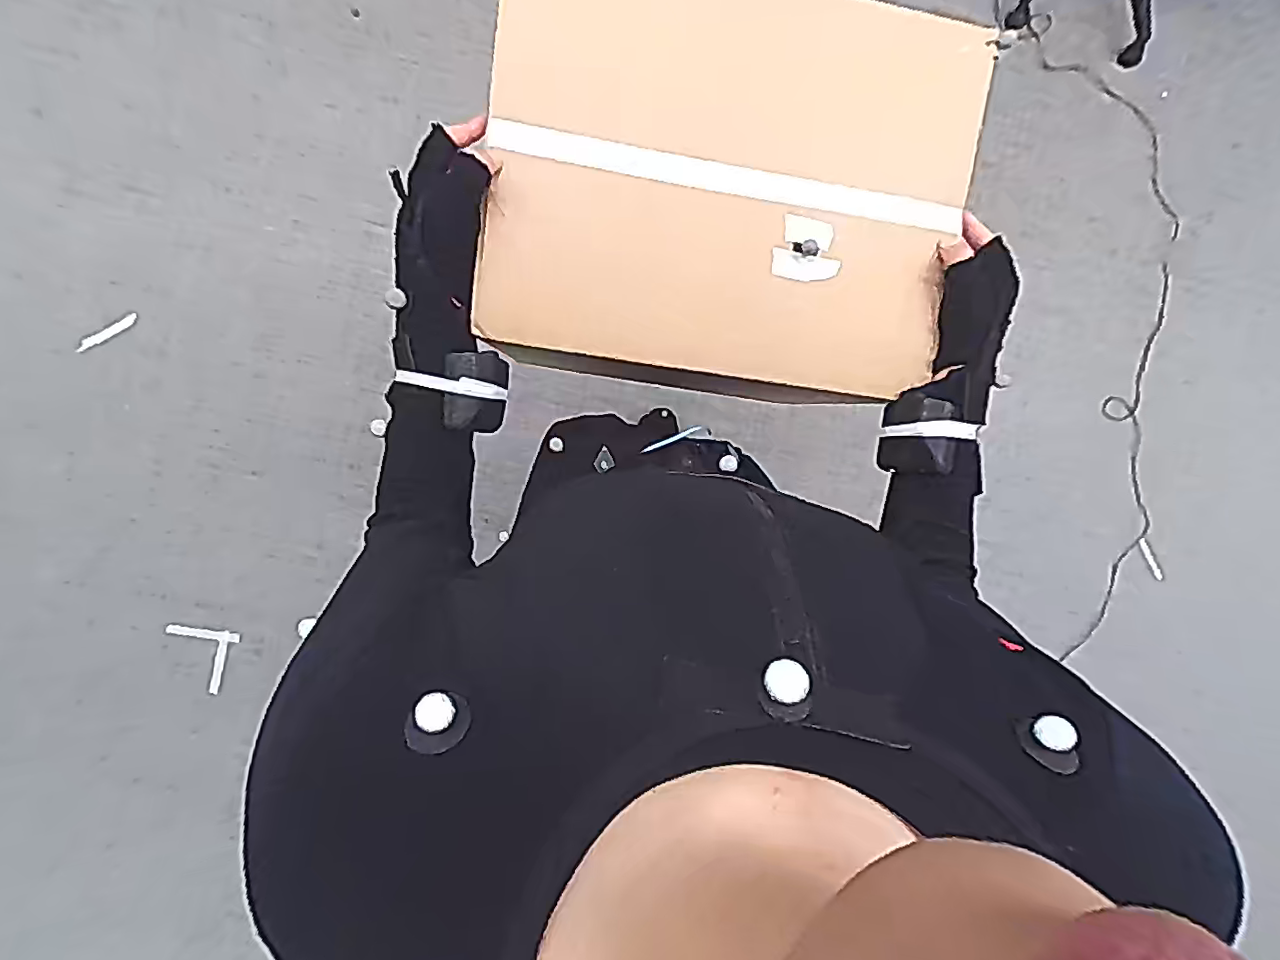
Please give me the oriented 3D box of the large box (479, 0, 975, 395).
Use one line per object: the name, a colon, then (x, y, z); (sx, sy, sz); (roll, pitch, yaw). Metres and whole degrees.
large box: (0.057, -0.273, 0.604); (0.408, 0.320, 0.320); (7, 99, -8)
